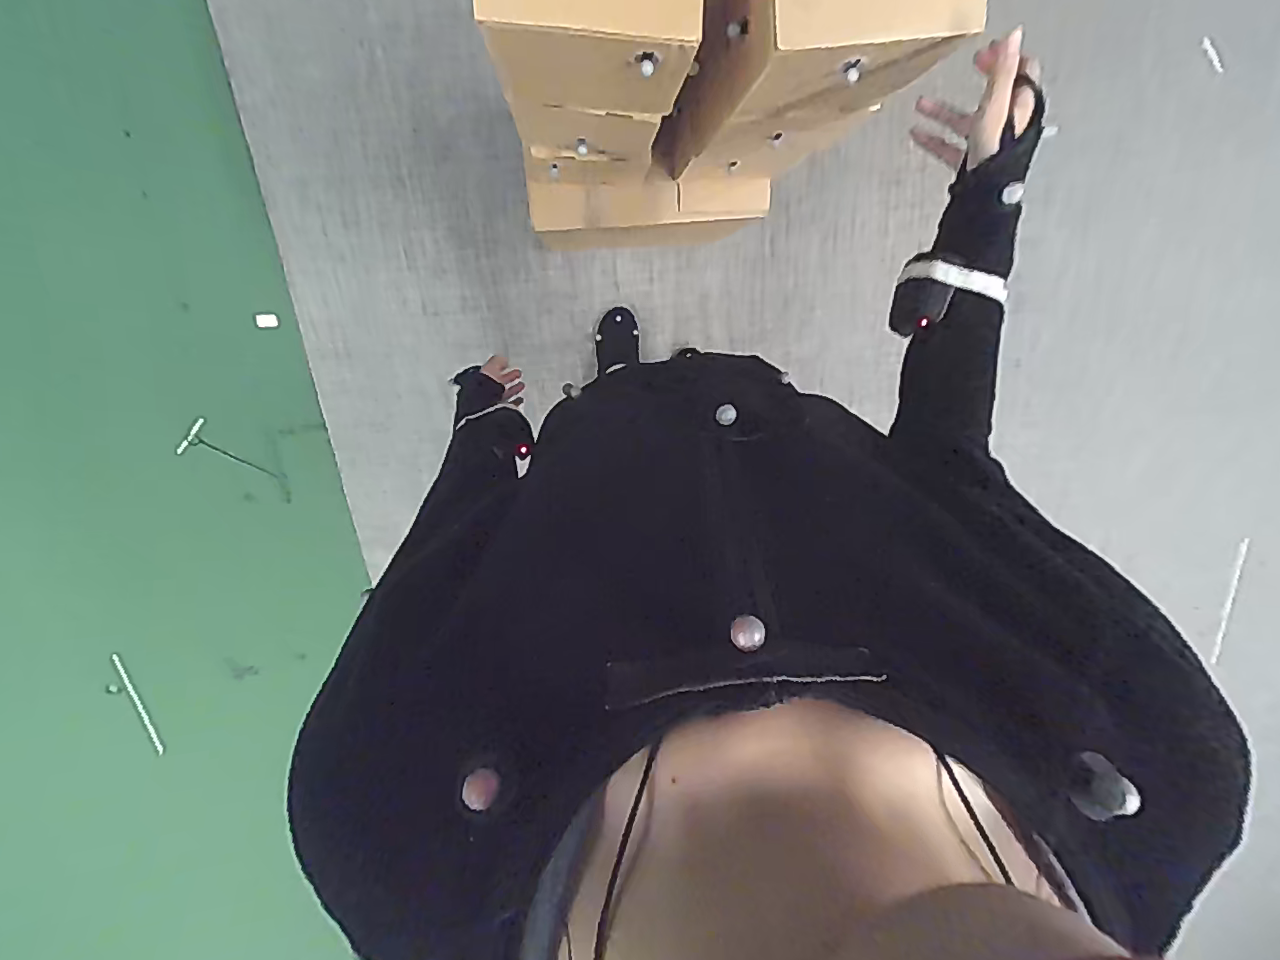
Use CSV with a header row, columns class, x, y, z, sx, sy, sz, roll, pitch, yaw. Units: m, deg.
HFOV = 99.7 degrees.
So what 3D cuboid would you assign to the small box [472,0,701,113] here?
class,x,y,z,sx,sy,sz,roll,pitch,yaw
small box,-0.044,-0.443,0.471,0.179,0.176,0.168,0,108,-6
